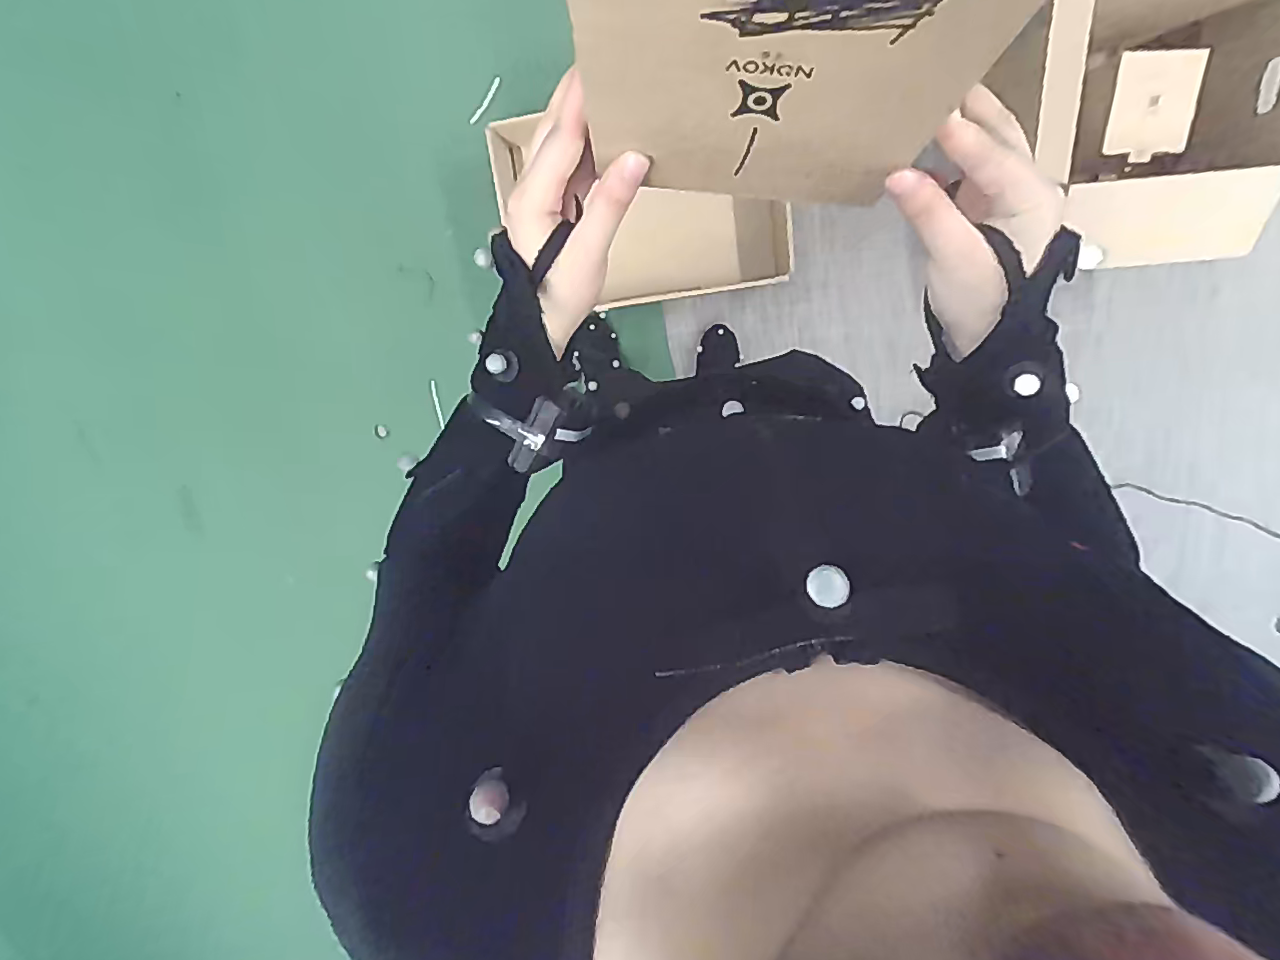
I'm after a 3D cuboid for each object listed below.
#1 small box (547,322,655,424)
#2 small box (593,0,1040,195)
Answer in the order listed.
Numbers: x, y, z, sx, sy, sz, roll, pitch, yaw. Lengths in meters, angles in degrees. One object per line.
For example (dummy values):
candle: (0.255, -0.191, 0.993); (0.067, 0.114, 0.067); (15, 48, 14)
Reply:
small box: (-0.088, -0.263, 1.325); (0.176, 0.168, 0.179); (37, 78, -36)
small box: (0.069, -0.259, 0.235); (0.168, 0.179, 0.176); (6, 89, 0)
